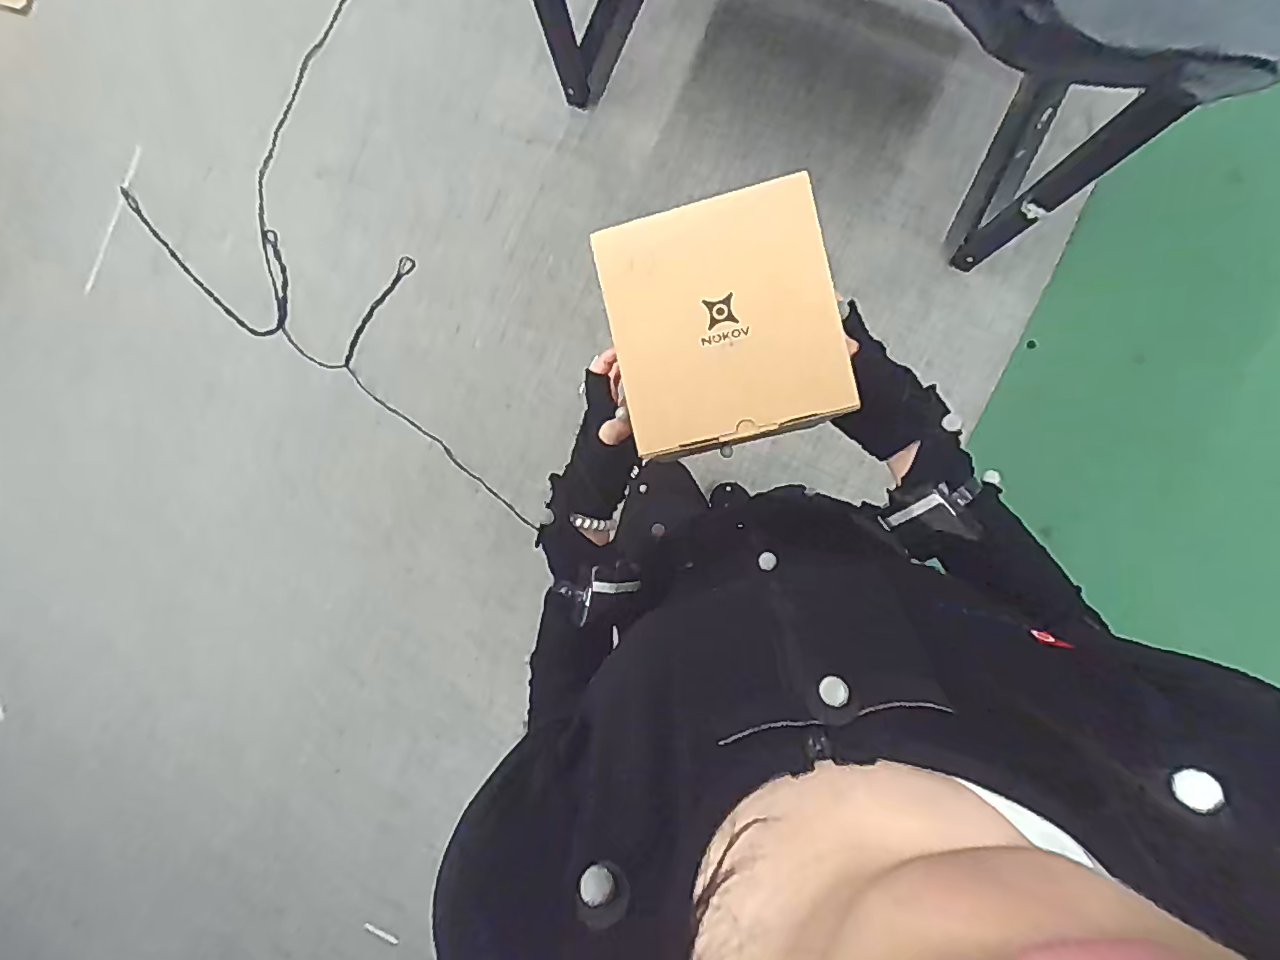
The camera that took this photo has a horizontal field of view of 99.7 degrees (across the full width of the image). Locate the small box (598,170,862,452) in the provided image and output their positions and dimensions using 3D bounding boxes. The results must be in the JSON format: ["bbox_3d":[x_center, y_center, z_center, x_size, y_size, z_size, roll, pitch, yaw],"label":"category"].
[{"bbox_3d":[0.070,-0.125,0.475,0.168,0.176,0.179,-13,92,6],"label":"small box"}]
